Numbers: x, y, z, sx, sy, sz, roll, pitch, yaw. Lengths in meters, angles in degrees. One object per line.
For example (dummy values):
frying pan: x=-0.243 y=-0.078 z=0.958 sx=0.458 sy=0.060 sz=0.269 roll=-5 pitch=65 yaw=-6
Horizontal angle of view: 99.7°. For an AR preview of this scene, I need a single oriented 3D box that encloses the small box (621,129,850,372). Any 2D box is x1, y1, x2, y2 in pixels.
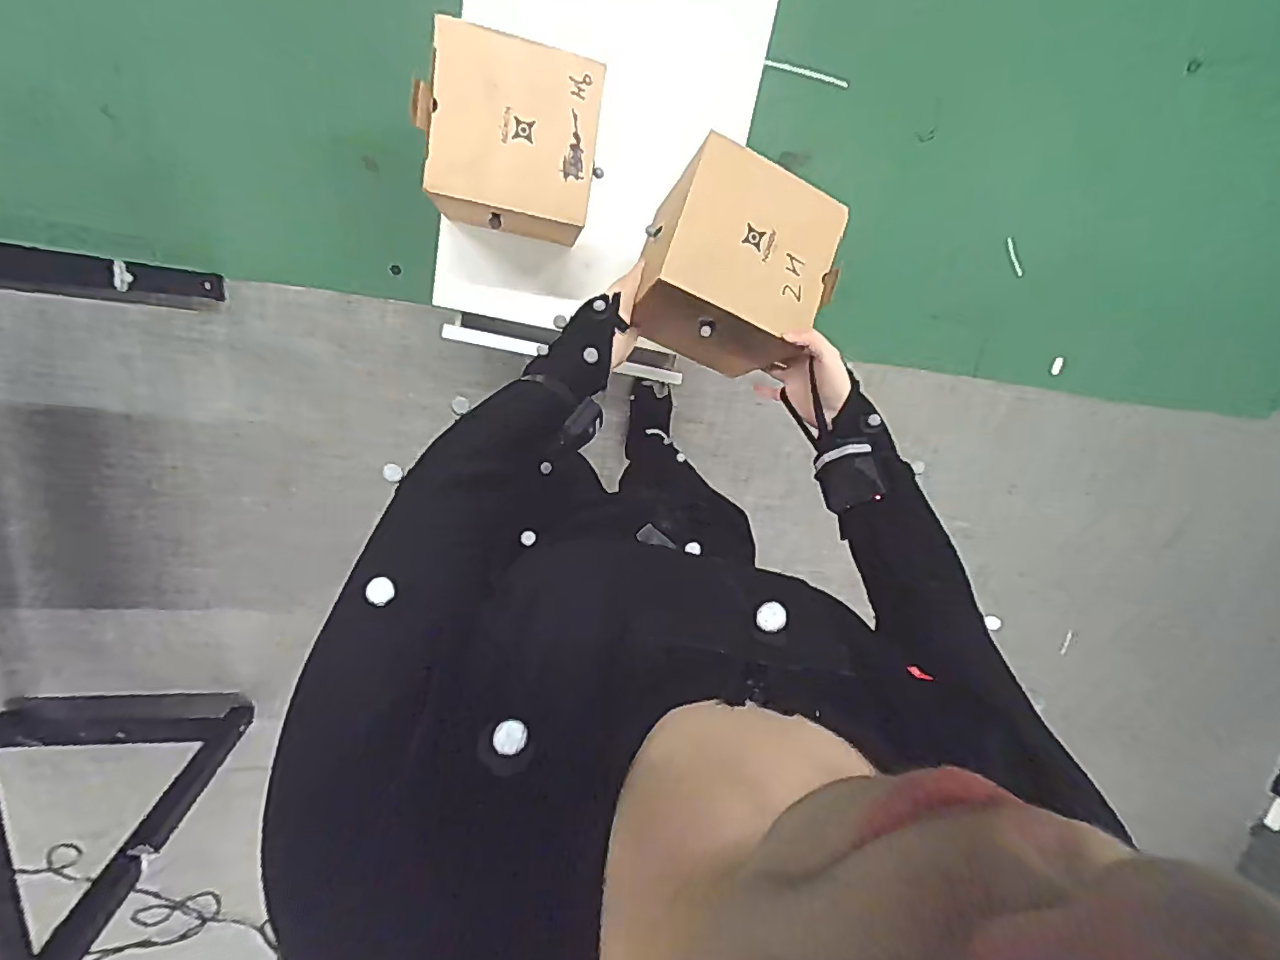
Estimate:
small box: x=0.095 y=-0.238 z=0.615 sx=0.179 sy=0.176 sz=0.168 roll=21 pitch=84 yaw=-17
